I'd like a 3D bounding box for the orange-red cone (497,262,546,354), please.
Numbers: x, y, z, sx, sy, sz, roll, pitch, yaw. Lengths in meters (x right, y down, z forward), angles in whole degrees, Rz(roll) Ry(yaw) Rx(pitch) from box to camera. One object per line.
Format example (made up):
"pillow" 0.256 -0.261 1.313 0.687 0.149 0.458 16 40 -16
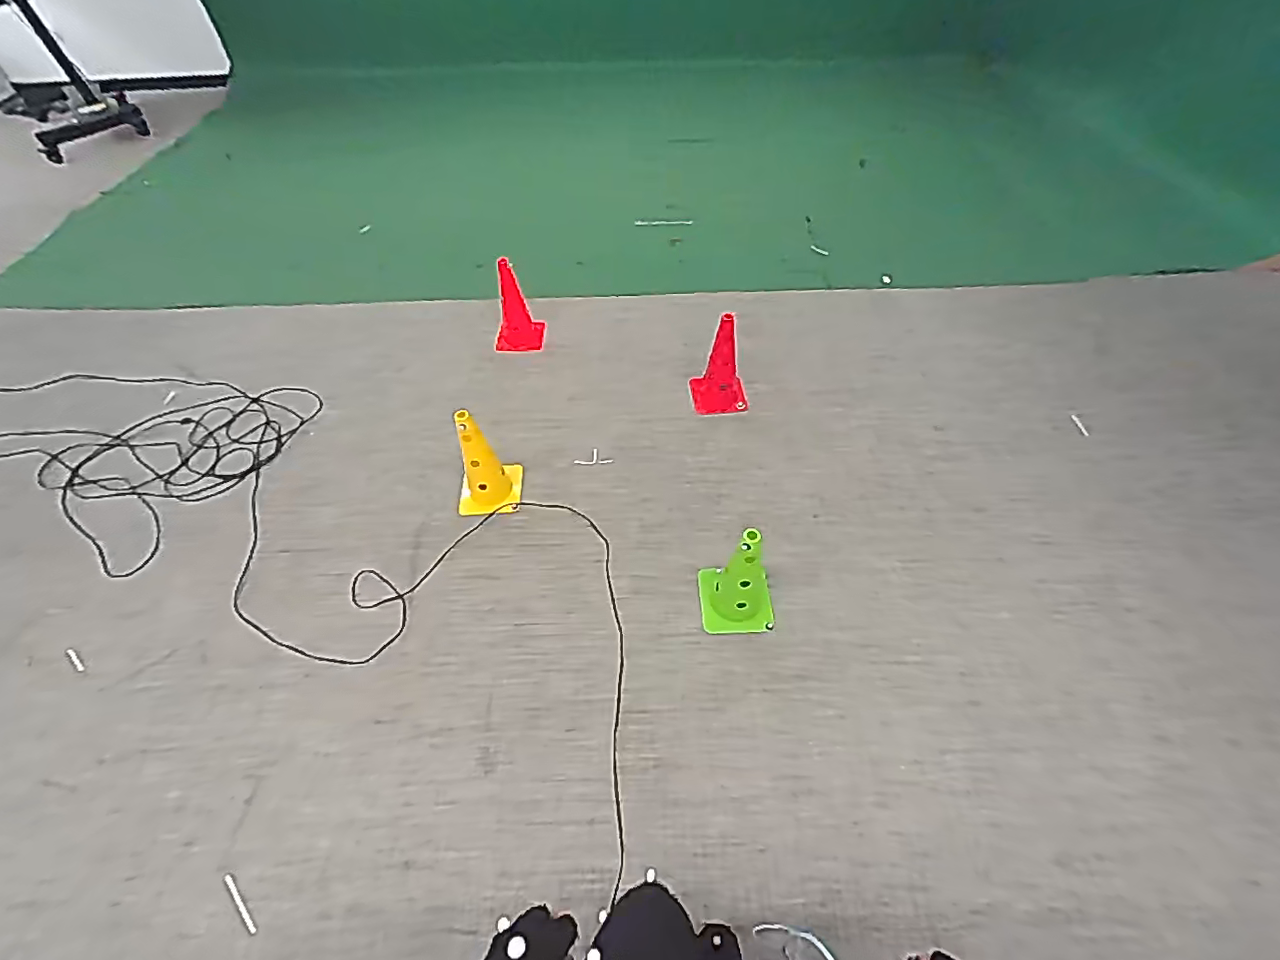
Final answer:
"orange-red cone" -0.516 -0.712 2.195 0.198 0.360 0.199 -2 53 2

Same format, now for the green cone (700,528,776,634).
"green cone" 0.270 0.237 1.424 0.202 0.368 0.200 -4 52 1

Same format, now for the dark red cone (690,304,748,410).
"dark red cone" 0.292 -0.445 1.925 0.202 0.394 0.201 -6 51 -2
